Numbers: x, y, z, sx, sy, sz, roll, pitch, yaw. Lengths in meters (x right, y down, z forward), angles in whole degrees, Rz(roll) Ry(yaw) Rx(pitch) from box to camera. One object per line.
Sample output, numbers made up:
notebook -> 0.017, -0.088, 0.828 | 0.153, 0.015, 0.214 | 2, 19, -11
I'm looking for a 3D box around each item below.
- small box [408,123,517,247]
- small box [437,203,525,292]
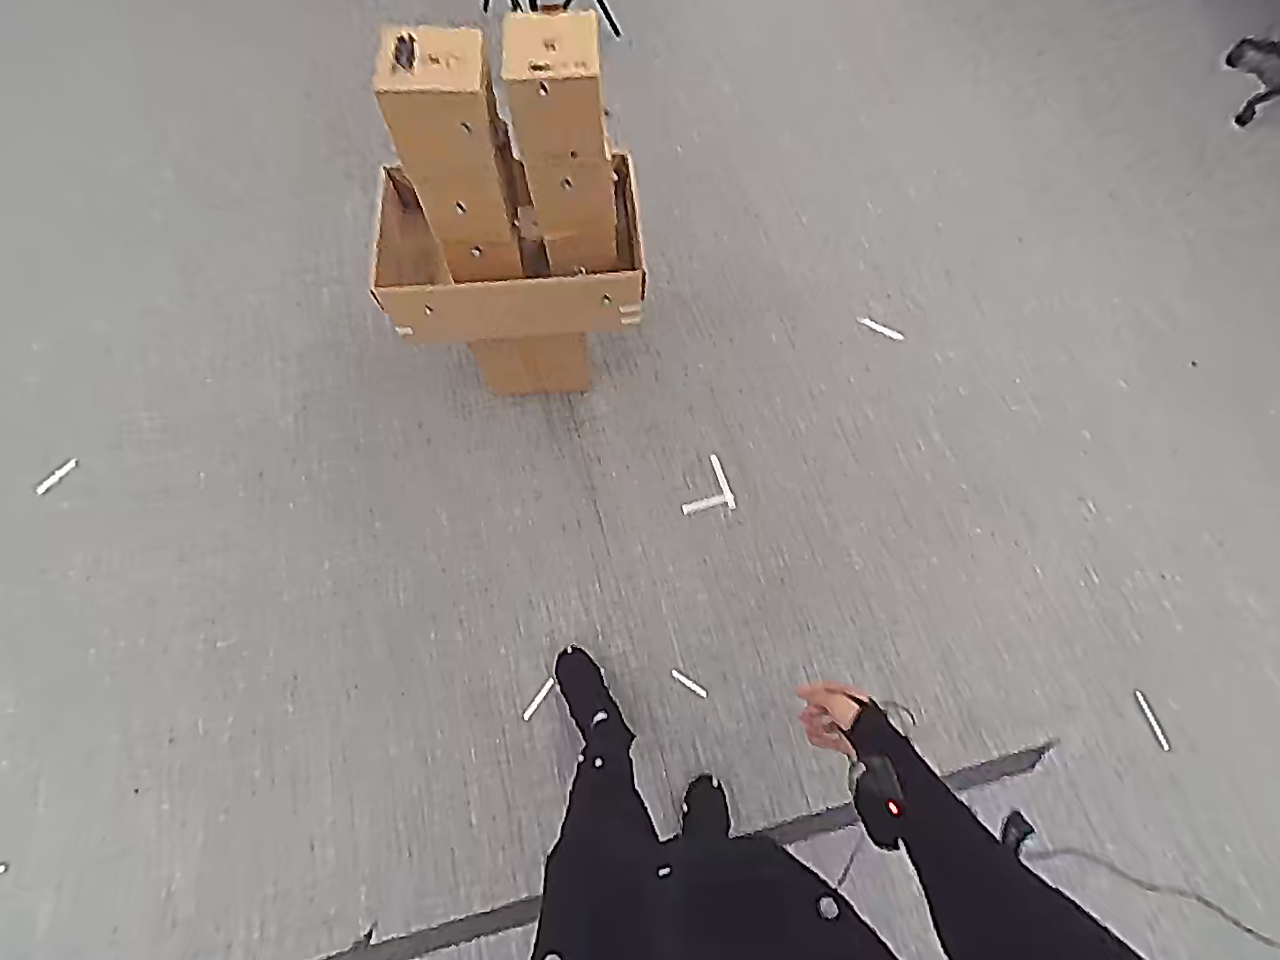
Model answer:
small box -> -0.366, -0.621, 1.154 | 0.179, 0.176, 0.168 | 1, 69, -1
small box -> -0.377, -0.576, 1.312 | 0.179, 0.176, 0.168 | -4, 69, -4
